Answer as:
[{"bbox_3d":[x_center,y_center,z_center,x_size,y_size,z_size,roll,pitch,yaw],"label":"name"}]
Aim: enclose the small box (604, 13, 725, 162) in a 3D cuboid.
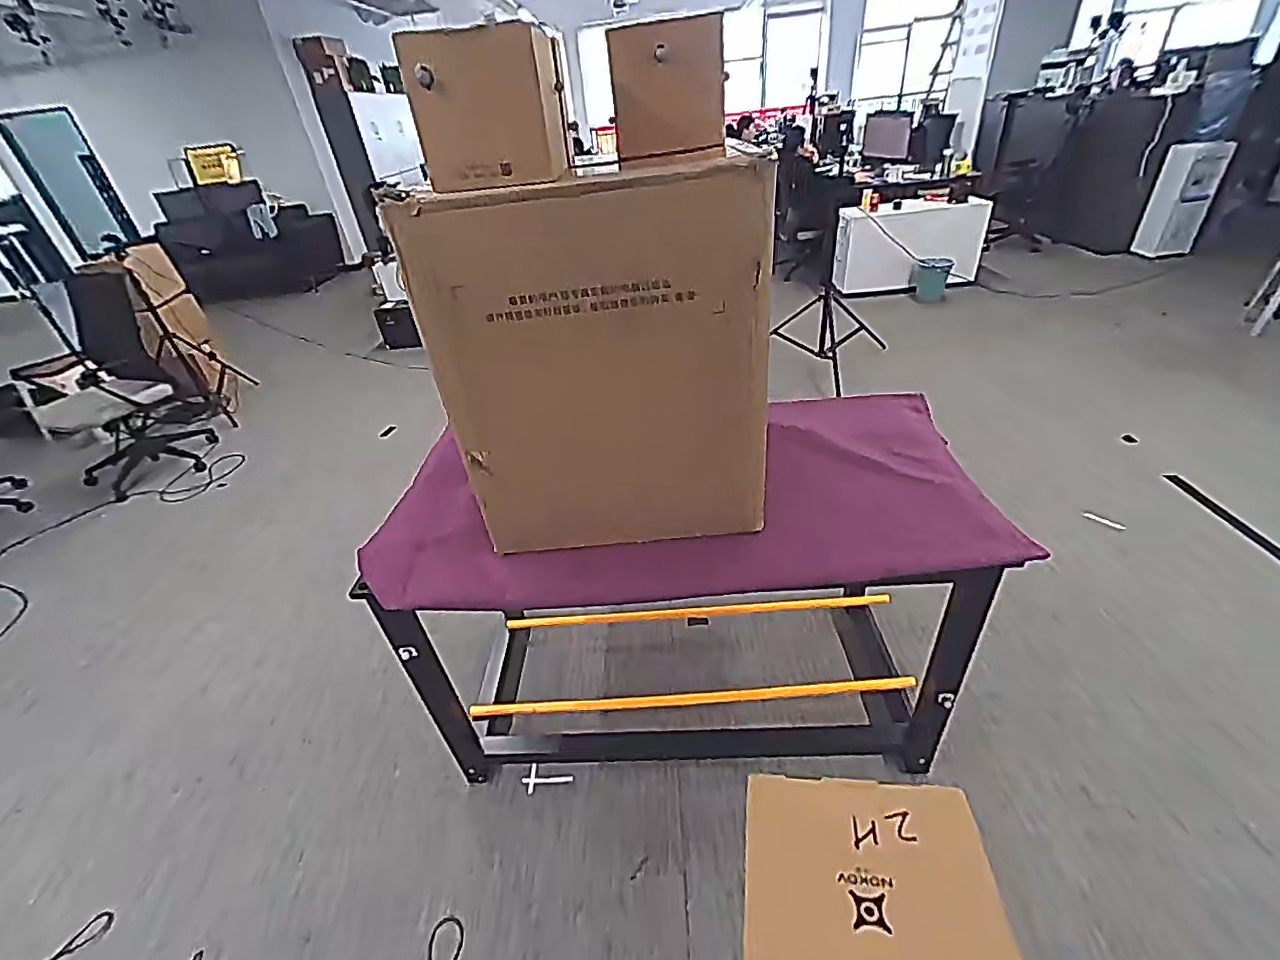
[{"bbox_3d":[0.042,-0.633,0.882,0.179,0.176,0.168,-7,34,3],"label":"small box"}]
